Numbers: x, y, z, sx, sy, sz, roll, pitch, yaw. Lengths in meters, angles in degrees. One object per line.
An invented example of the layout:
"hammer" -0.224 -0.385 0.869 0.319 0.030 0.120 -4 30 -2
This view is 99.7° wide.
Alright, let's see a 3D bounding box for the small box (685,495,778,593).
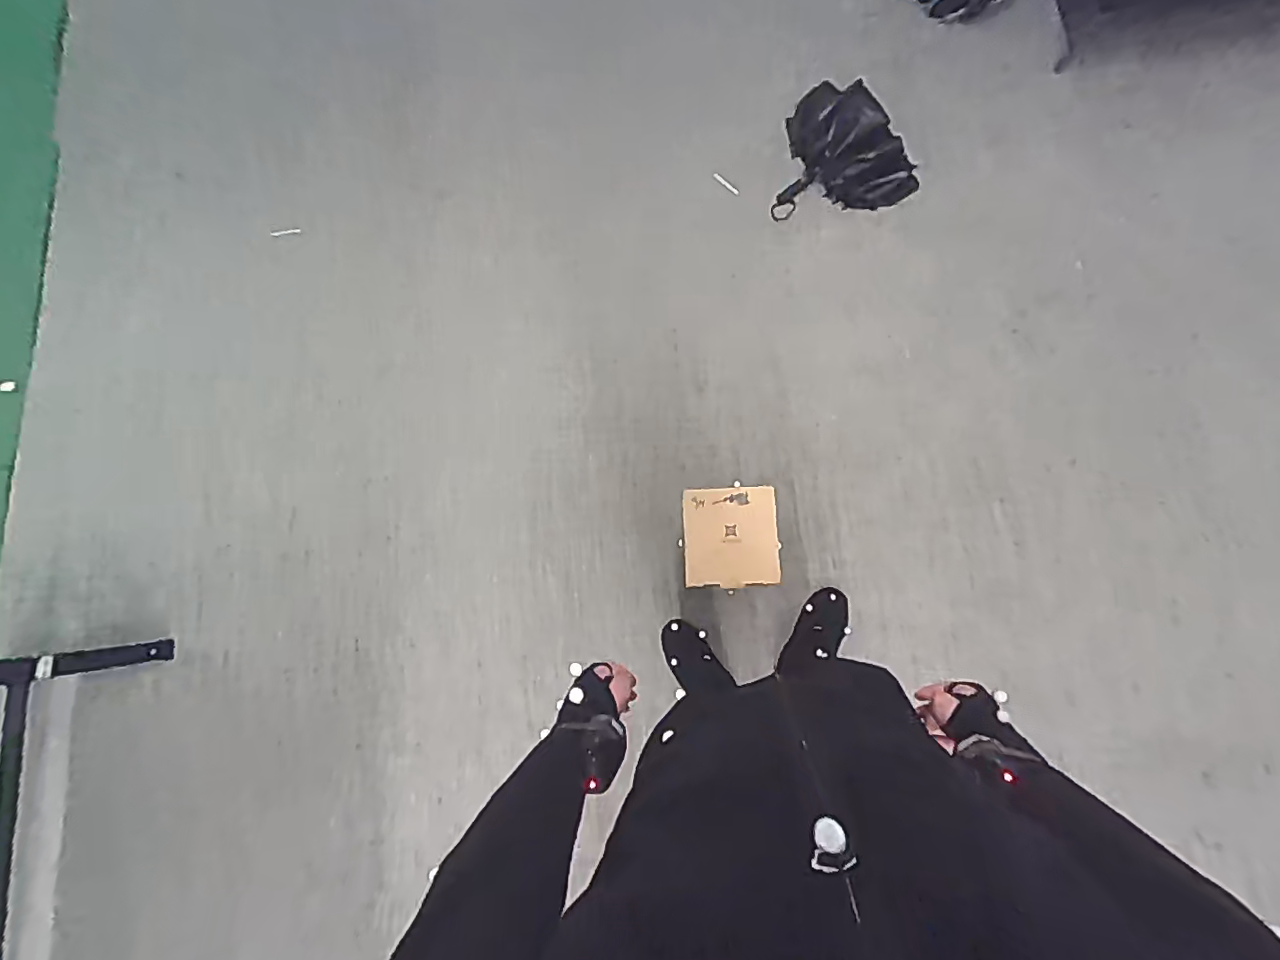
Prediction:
"small box" 0.173 0.126 1.046 0.168 0.176 0.179 -1 80 7
